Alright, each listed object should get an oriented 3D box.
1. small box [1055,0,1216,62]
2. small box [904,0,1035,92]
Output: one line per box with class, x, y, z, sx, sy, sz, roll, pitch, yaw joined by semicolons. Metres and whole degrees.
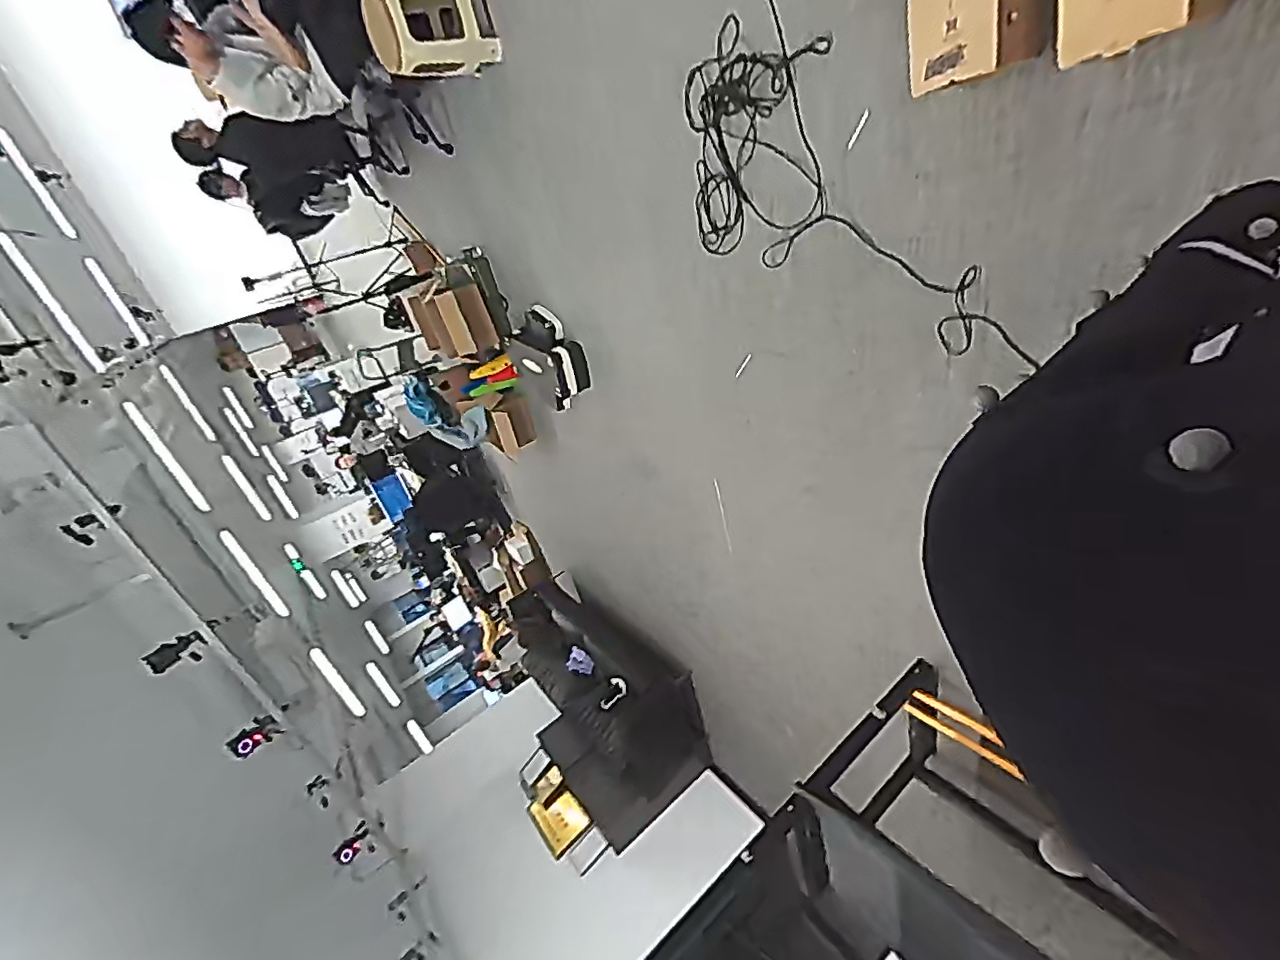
small box;0.796;-0.813;0.862;0.168;0.176;0.179;18;134;54
small box;0.640;-0.893;1.048;0.168;0.176;0.179;21;135;52
